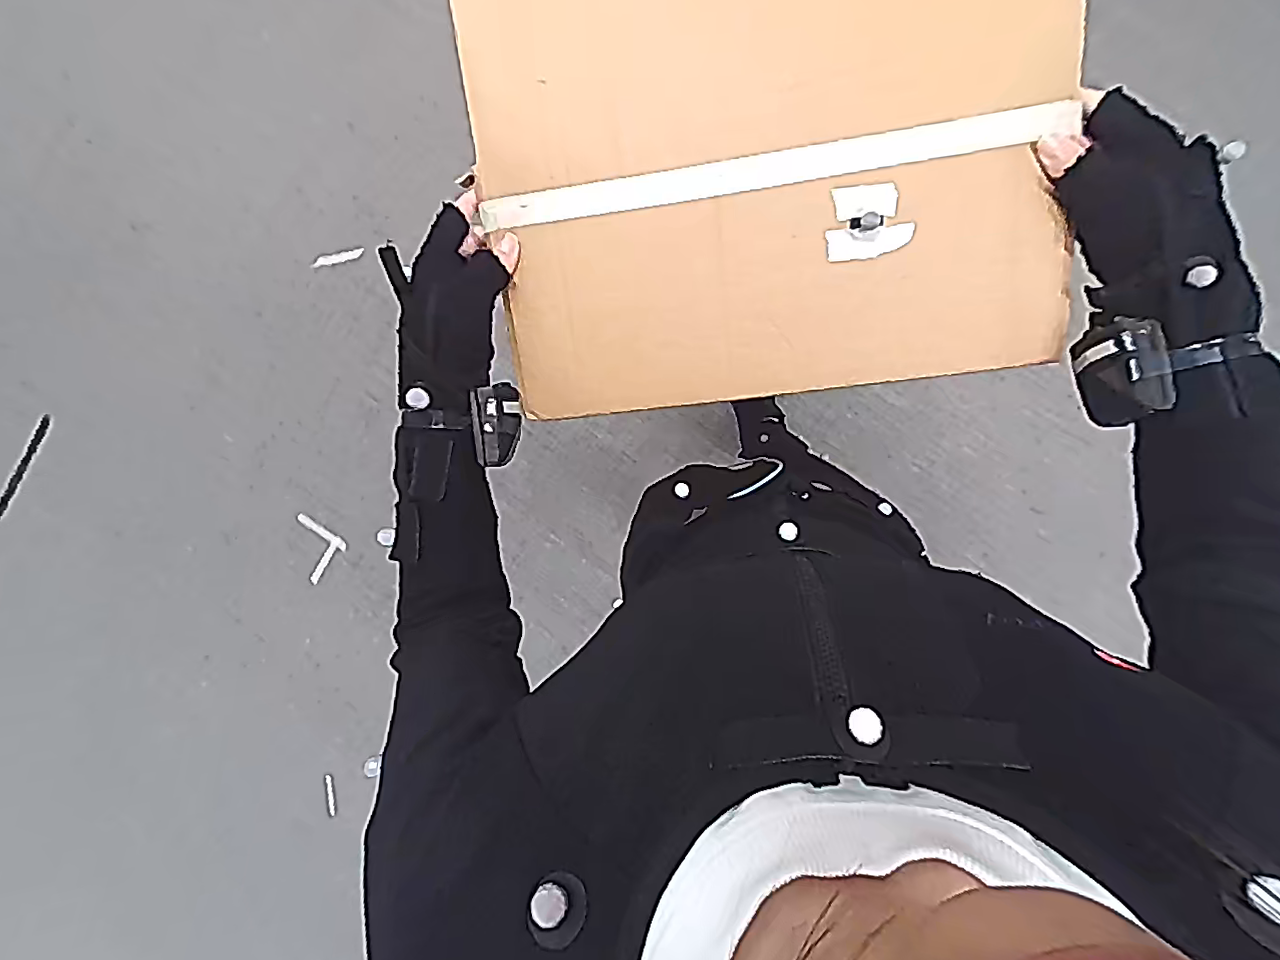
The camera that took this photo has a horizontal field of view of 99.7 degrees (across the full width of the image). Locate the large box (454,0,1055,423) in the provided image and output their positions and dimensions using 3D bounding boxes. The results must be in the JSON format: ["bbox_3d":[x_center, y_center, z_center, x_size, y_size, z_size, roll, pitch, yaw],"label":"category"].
[{"bbox_3d":[0.095,-0.255,0.536,0.408,0.320,0.320,-7,104,6],"label":"large box"}]
